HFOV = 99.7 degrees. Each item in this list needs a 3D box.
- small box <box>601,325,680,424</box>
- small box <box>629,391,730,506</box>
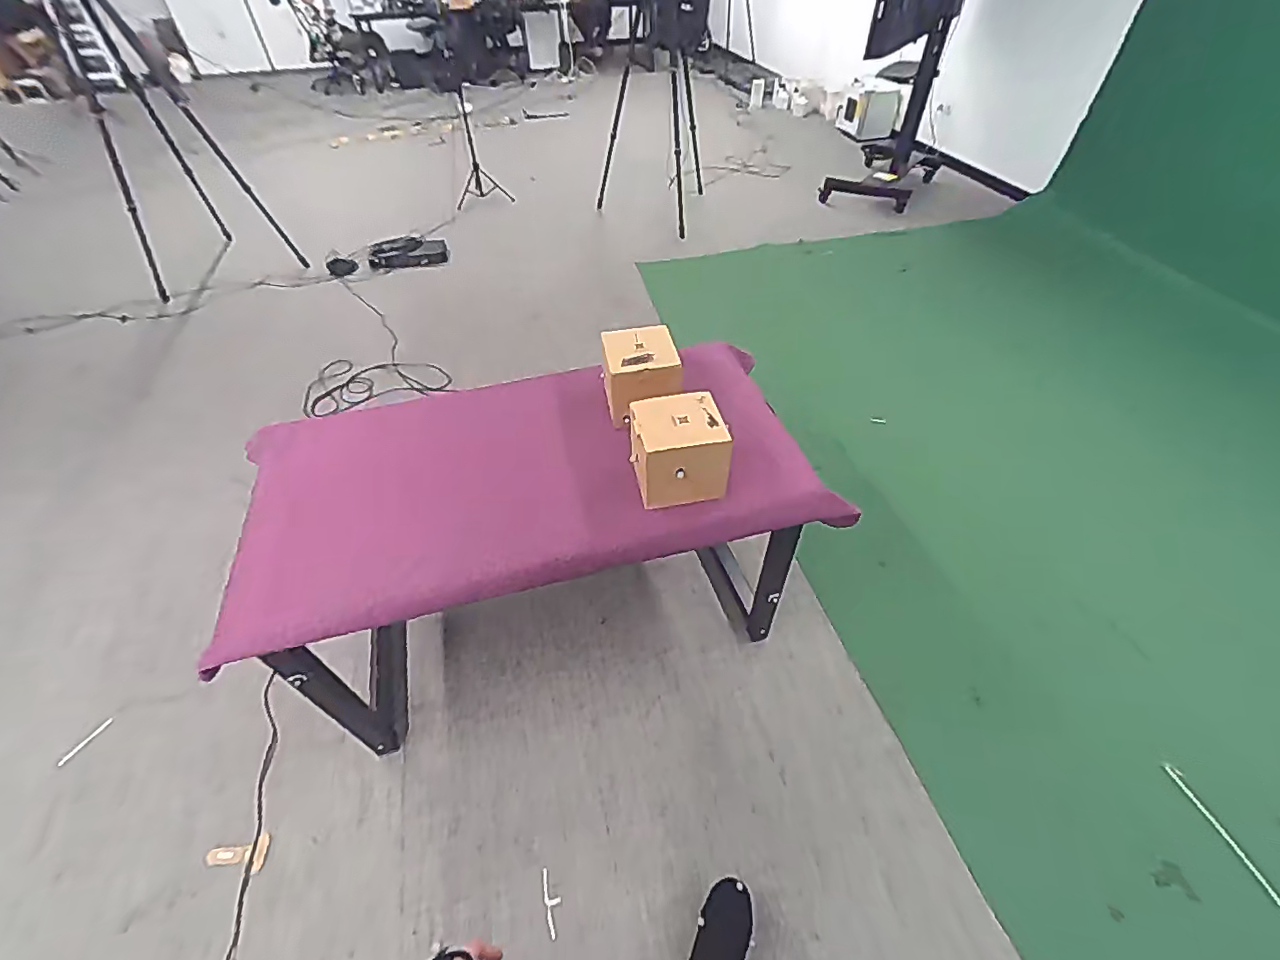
[{"bbox_3d":[0.001,-0.251,1.320,0.168,0.176,0.179,-8,47,-6],"label":"small box"},{"bbox_3d":[0.080,-0.063,1.142,0.179,0.176,0.168,-9,47,-6],"label":"small box"}]
